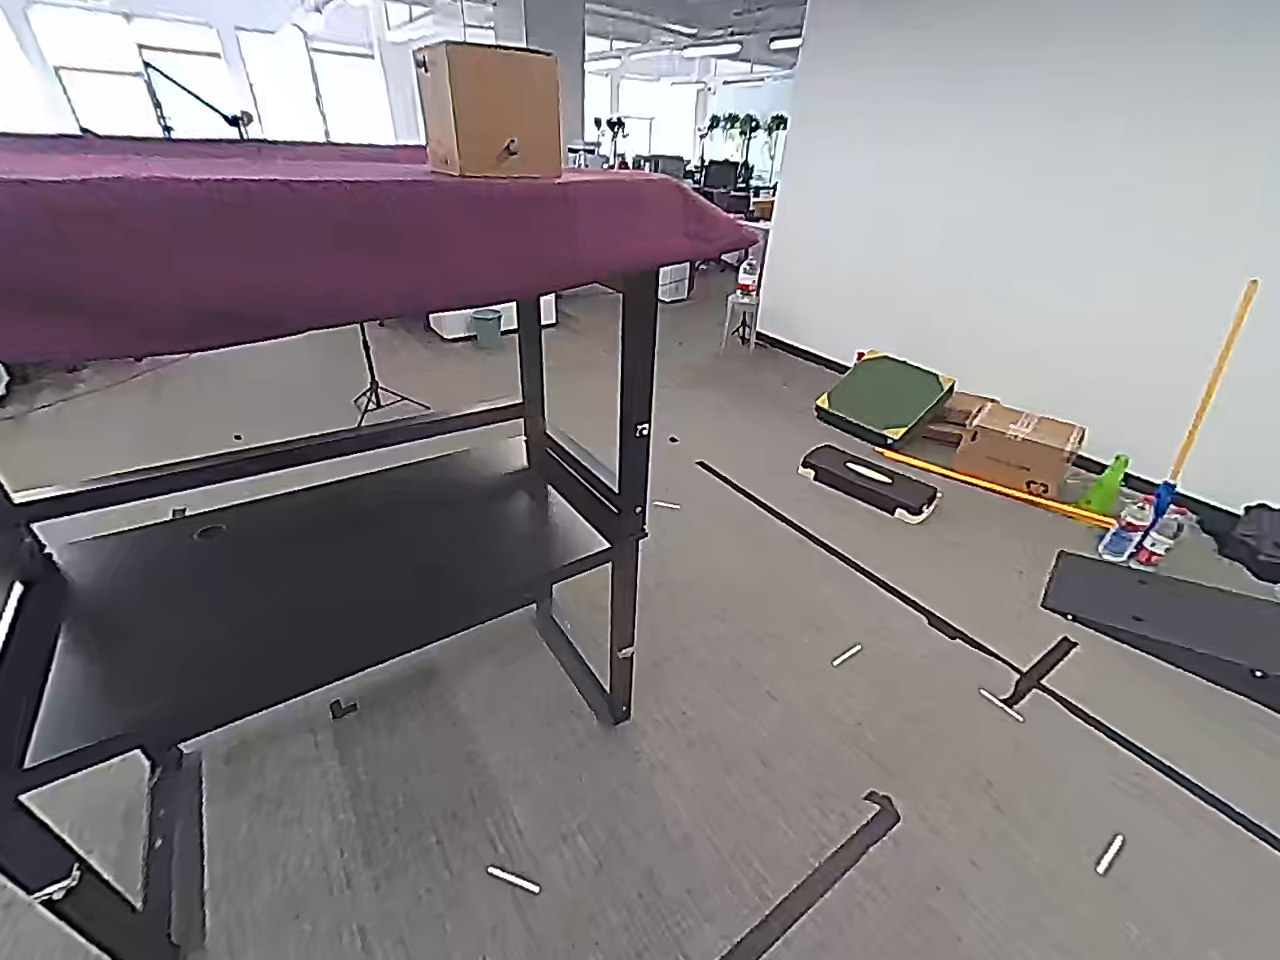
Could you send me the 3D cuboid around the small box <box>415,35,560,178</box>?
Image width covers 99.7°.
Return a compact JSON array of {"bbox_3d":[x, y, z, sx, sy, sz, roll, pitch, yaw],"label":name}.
[{"bbox_3d":[-0.242,-0.591,0.872,0.179,0.176,0.168,-18,37,-30],"label":"small box"}]
